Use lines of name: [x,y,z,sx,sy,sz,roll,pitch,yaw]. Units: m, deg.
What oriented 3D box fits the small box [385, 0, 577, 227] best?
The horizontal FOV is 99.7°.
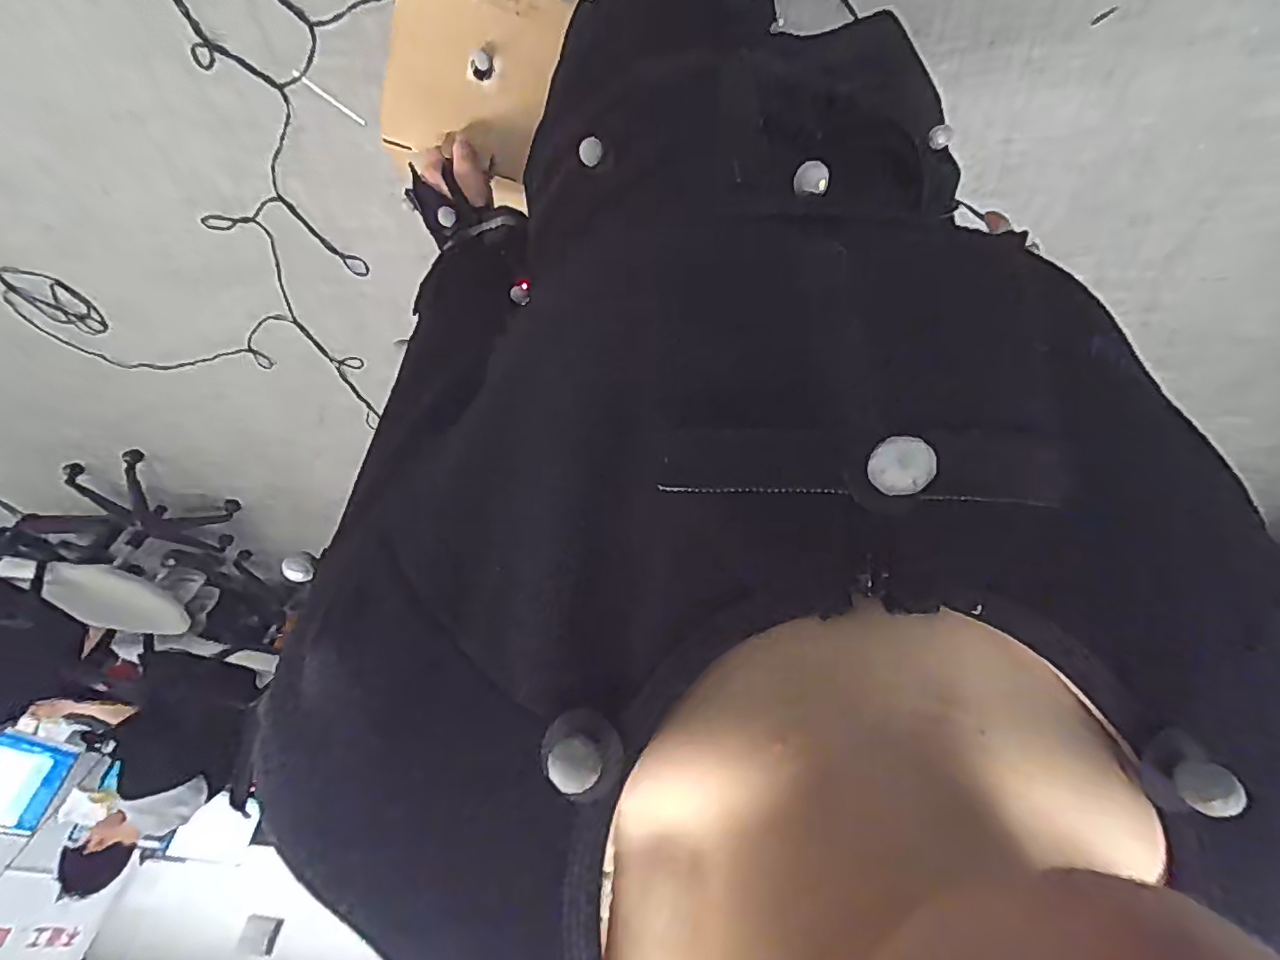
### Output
small box: [-0.172,-0.408,0.604,0.168,0.179,0.176,11,103,-16]
